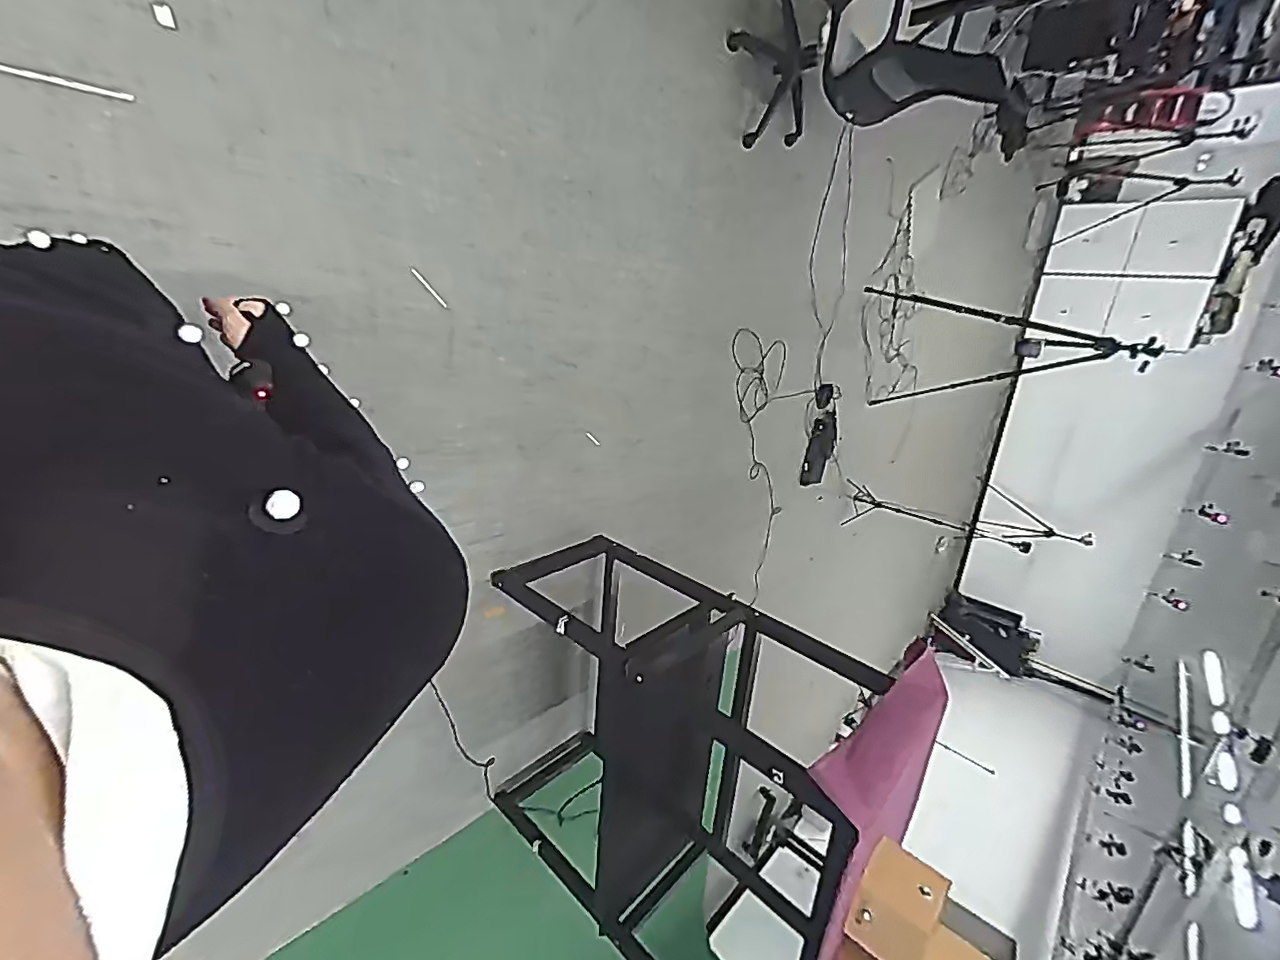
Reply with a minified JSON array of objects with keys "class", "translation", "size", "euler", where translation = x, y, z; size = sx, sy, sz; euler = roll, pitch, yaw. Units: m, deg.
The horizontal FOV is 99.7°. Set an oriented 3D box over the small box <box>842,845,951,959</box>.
[{"class":"small box","translation":[0.601,1.017,1.271],"size":[0.179,0.176,0.168],"euler":[-10,111,-47]}]
